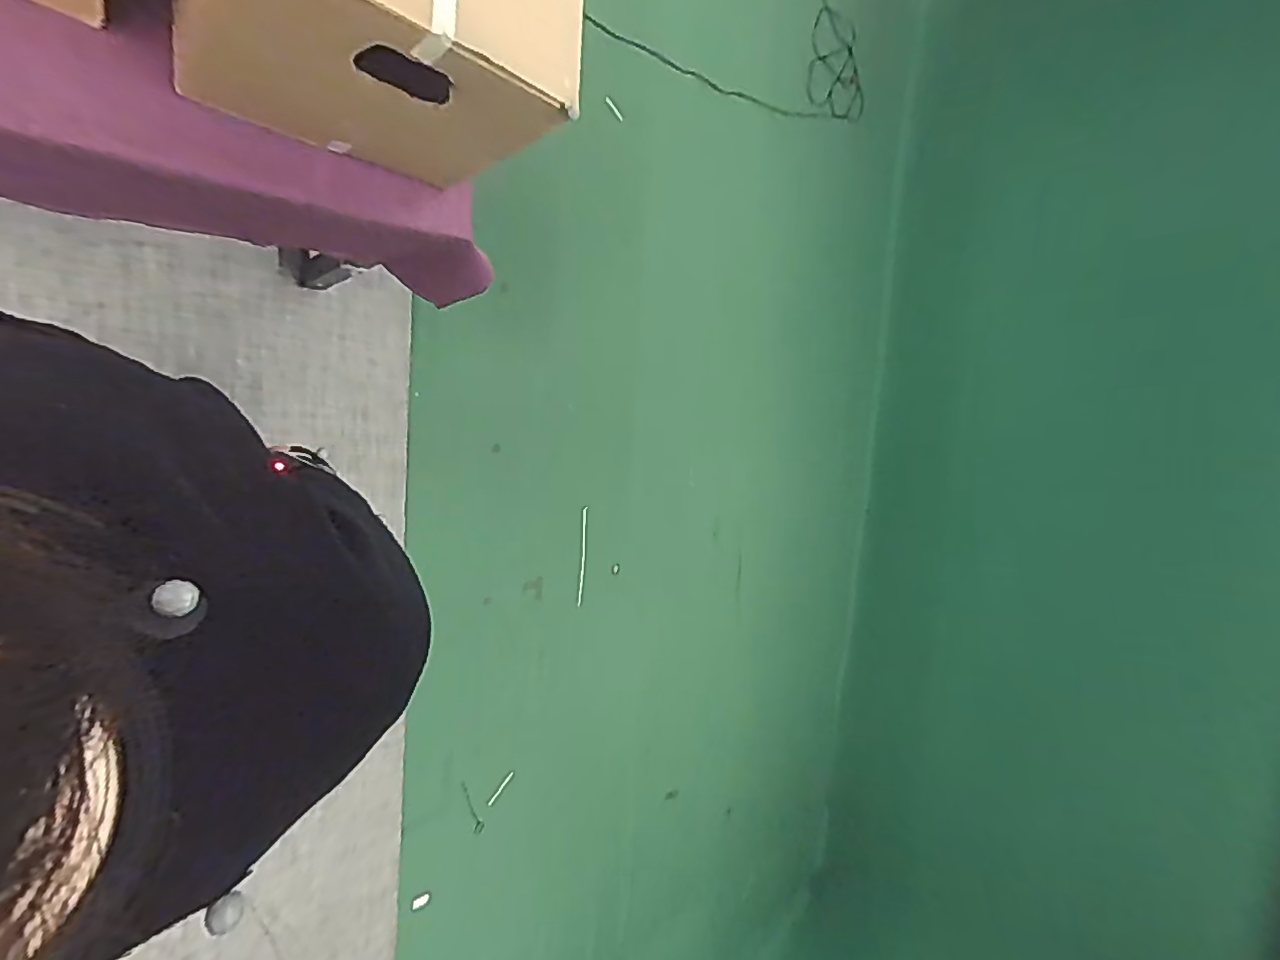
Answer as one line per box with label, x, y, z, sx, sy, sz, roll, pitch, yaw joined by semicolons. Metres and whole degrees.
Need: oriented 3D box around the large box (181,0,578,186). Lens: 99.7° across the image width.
large box;-0.277;-0.606;0.573;0.320;0.320;0.408;-3;100;-45
